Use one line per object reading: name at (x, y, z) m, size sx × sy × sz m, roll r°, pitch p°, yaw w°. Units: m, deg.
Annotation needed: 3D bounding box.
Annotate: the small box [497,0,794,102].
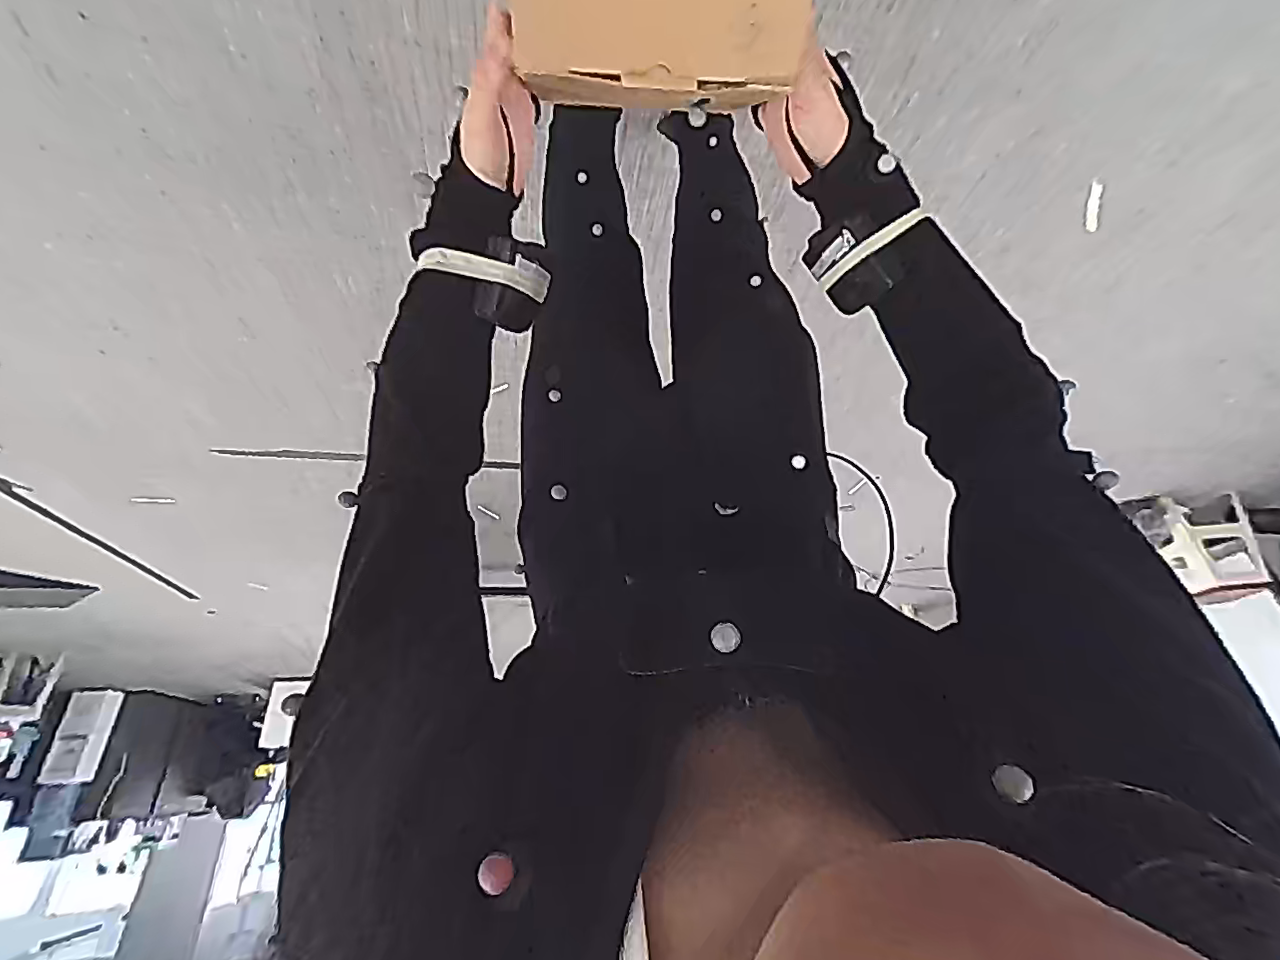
small box at (0.003, -0.349, 0.335) m, size 0.168 × 0.176 × 0.179 m, roll 0°, pitch 120°, yaw -6°
